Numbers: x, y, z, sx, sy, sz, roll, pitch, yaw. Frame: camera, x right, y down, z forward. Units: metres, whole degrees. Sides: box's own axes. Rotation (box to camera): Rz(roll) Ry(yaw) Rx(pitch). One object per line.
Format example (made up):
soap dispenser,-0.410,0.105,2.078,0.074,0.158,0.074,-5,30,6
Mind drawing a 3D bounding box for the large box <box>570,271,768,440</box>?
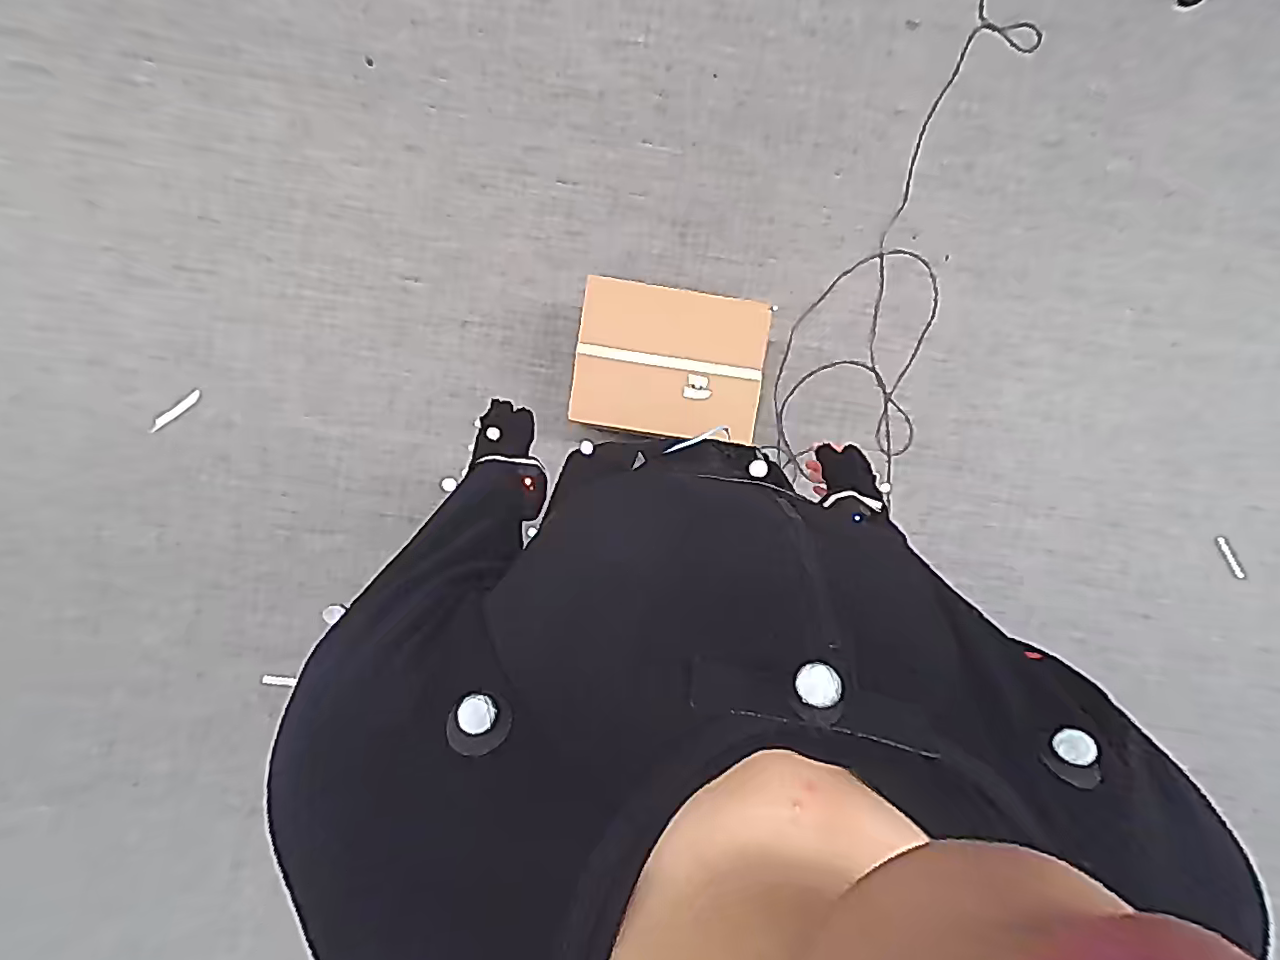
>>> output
large box,0.055,-0.278,1.317,0.408,0.320,0.320,9,94,-3
